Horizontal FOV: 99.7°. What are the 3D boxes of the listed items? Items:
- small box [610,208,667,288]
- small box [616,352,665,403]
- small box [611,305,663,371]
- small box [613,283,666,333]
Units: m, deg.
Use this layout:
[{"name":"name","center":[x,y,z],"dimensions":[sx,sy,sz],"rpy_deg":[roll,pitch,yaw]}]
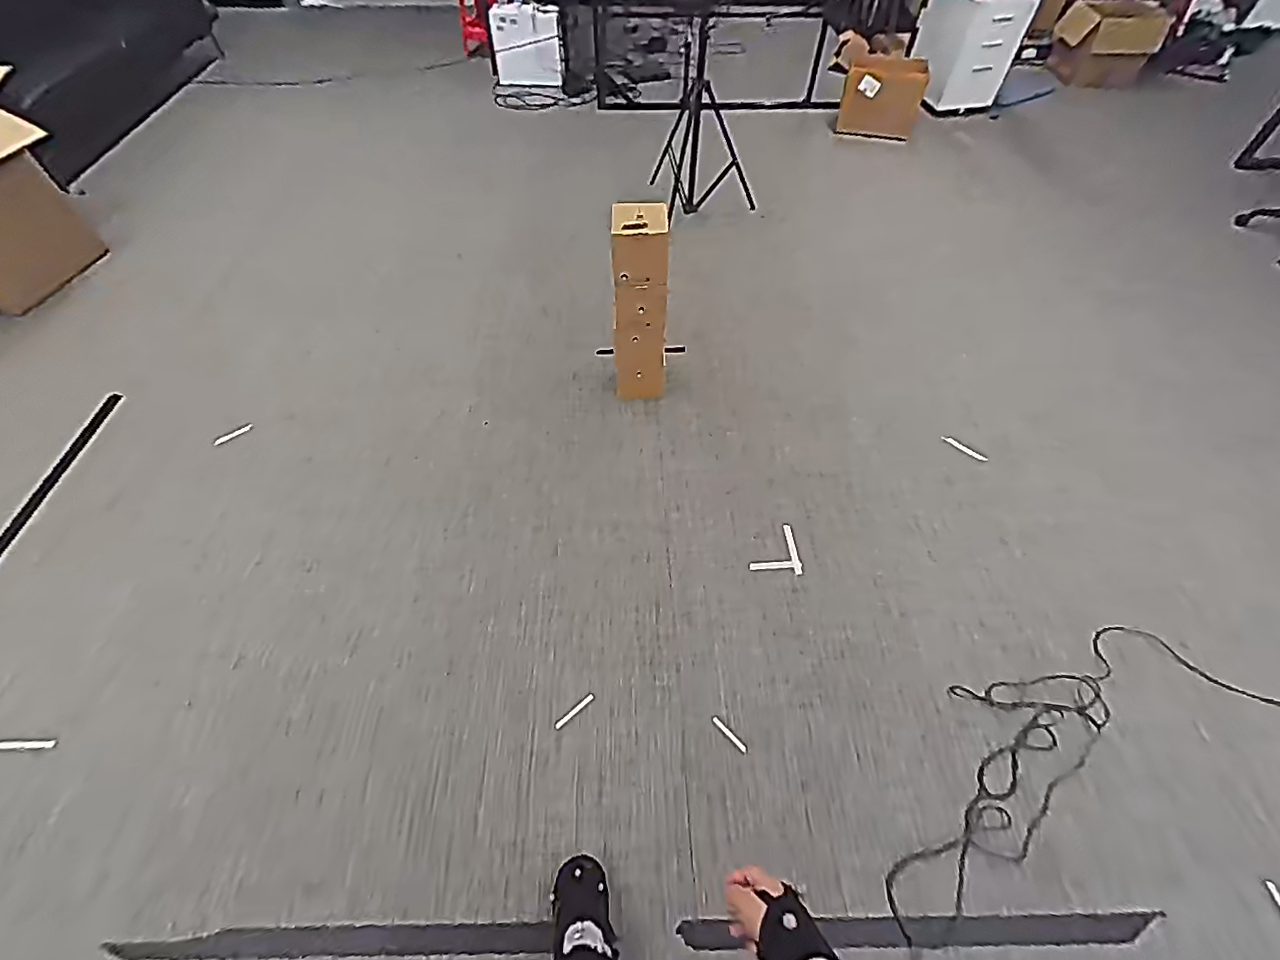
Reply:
[{"name":"small box","center":[-0.003,-0.699,1.639],"dimensions":[0.168,0.176,0.179],"rpy_deg":[-1,53,0]},{"name":"small box","center":[-0.001,-0.406,2.035],"dimensions":[0.179,0.176,0.168],"rpy_deg":[-2,54,-1]},{"name":"small box","center":[-0.008,-0.500,1.900],"dimensions":[0.179,0.176,0.168],"rpy_deg":[0,55,1]},{"name":"small box","center":[0.001,-0.599,1.771],"dimensions":[0.168,0.176,0.179],"rpy_deg":[0,55,0]}]
